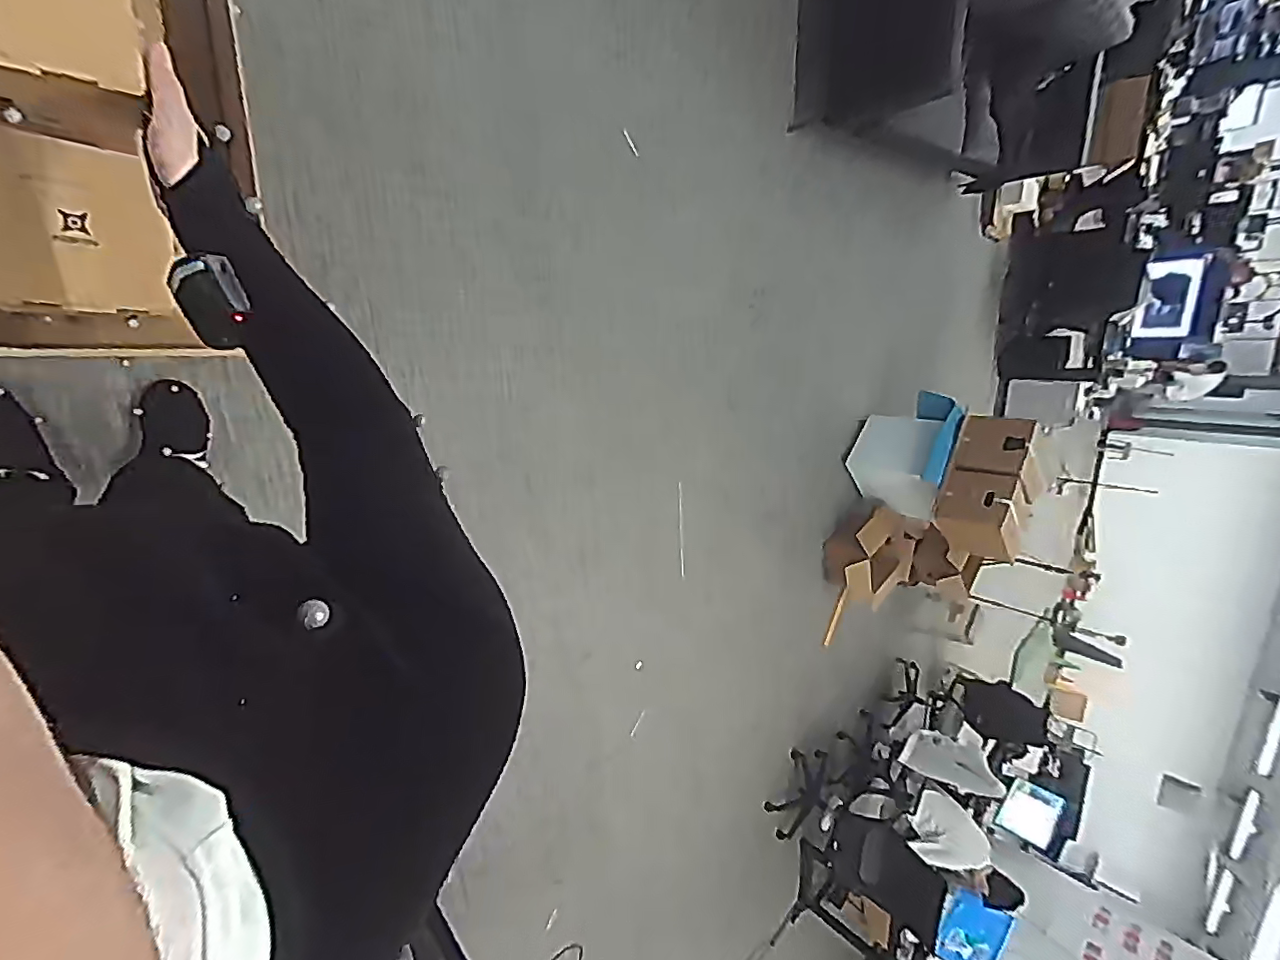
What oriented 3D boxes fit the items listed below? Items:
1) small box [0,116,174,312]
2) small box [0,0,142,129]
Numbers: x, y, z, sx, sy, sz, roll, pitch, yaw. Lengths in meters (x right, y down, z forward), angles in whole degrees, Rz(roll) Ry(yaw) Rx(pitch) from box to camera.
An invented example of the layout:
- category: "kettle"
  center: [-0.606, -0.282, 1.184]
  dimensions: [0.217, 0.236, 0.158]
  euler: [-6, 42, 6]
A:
- category: "small box"
  center: [-0.672, -0.299, 0.642]
  dimensions: [0.168, 0.176, 0.179]
  euler: [-8, 105, -43]
- category: "small box"
  center: [-0.507, -0.400, 0.408]
  dimensions: [0.168, 0.176, 0.179]
  euler: [-13, 112, -43]
